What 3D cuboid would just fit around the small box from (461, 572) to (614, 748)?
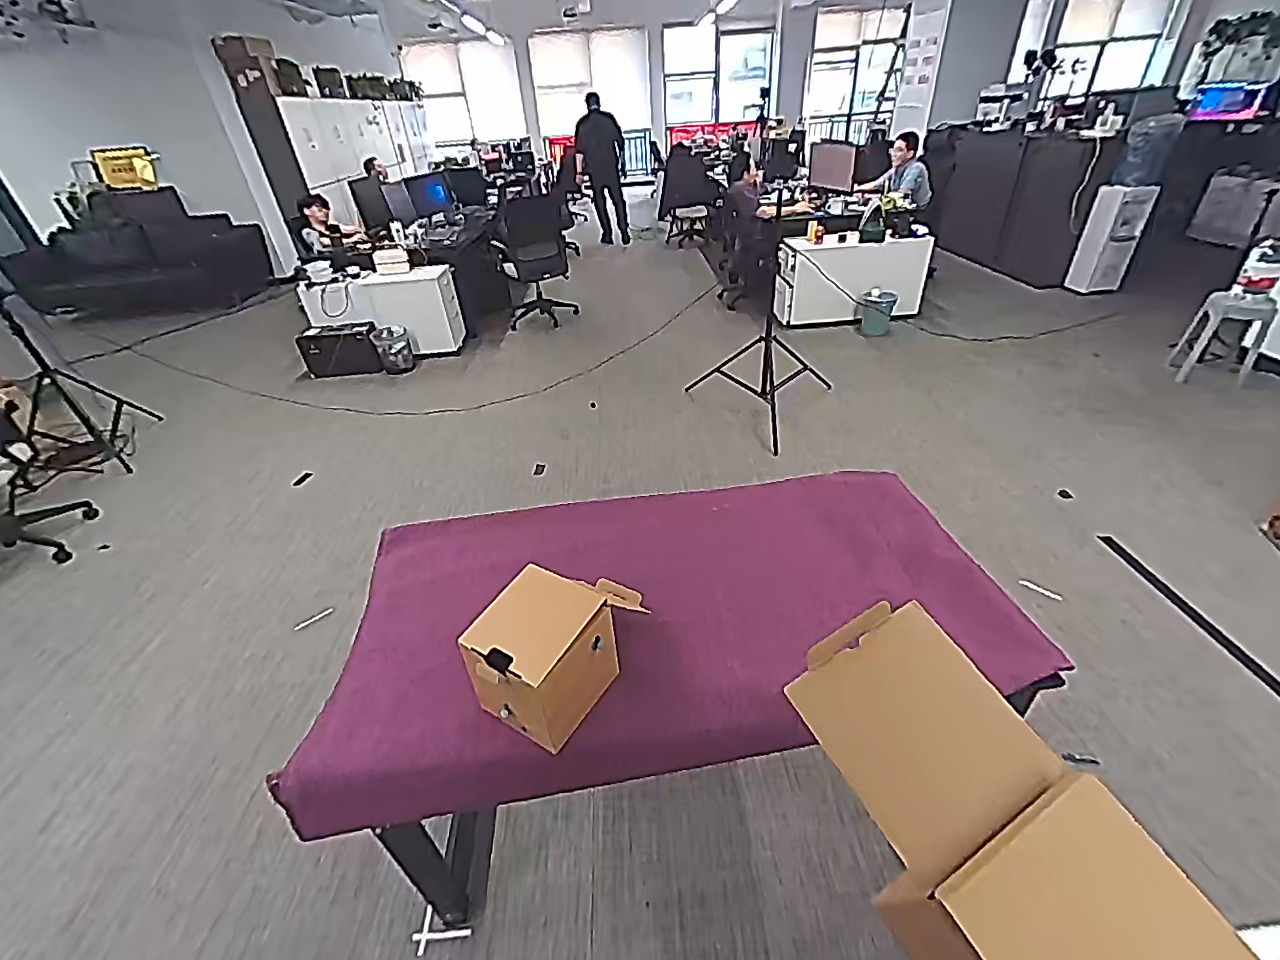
[{"bbox_3d":[-0.155,0.287,0.879,0.168,0.176,0.179,16,39,30],"label":"small box"}]
